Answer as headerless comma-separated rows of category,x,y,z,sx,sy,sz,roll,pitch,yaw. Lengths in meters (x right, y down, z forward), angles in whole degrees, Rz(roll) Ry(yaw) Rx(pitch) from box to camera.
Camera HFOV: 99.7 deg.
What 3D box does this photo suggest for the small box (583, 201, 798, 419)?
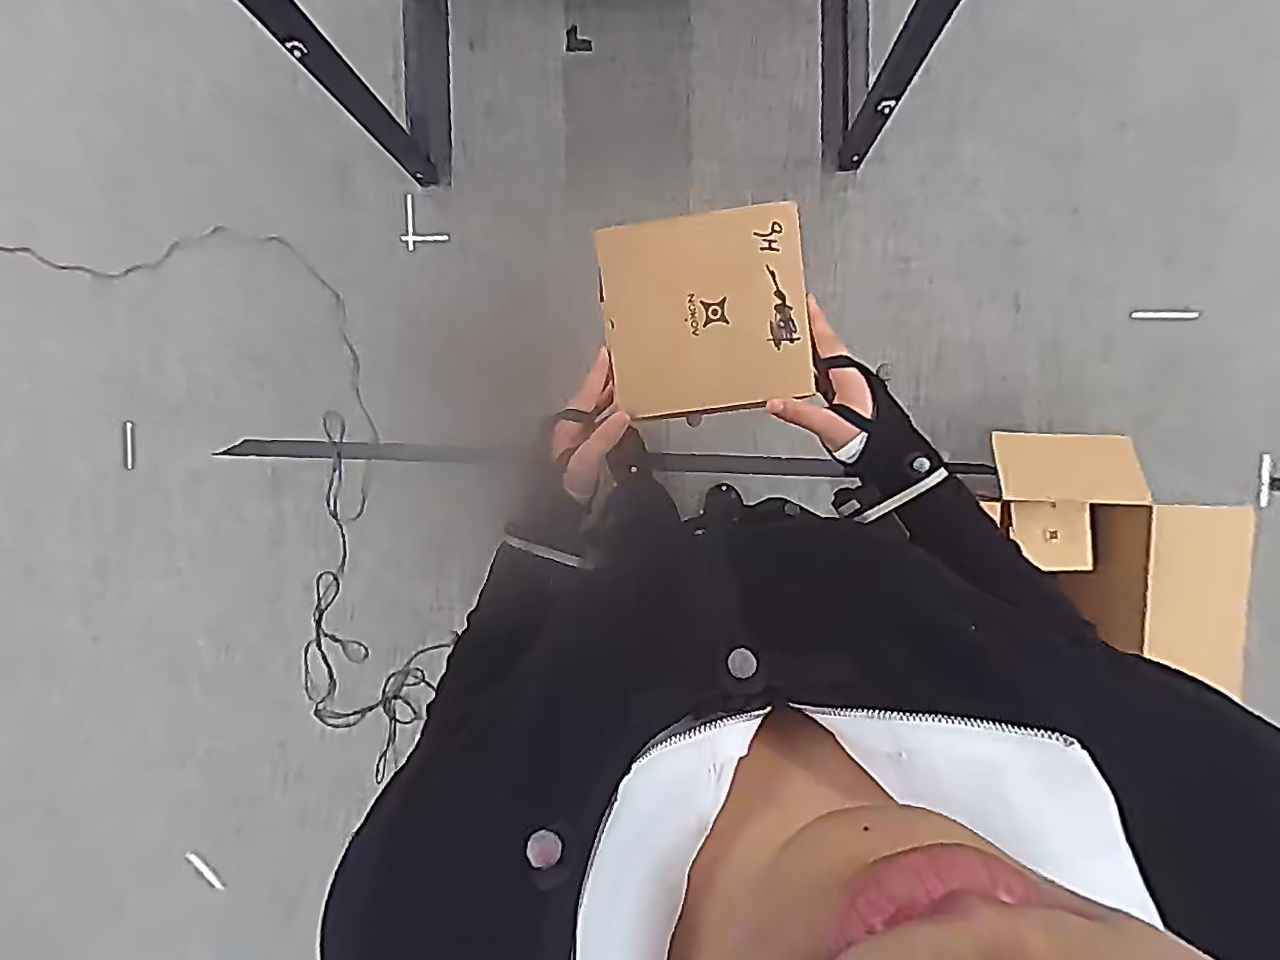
small box,0.050,-0.154,0.552,0.179,0.176,0.168,-7,94,4
